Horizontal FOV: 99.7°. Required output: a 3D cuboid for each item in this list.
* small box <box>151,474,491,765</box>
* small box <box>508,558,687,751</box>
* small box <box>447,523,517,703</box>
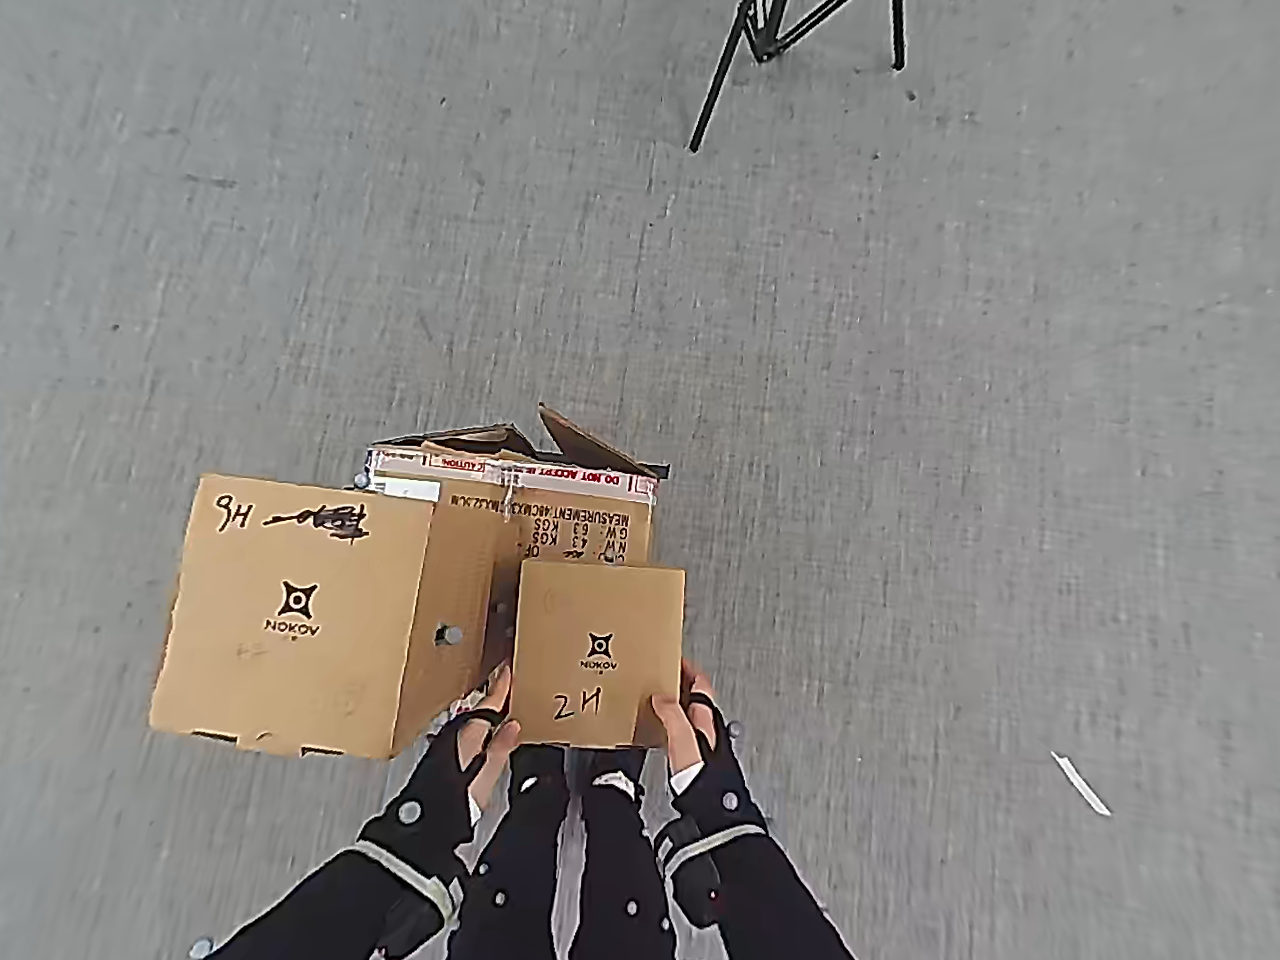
[{"bbox_3d":[-0.232,0.098,0.443,0.168,0.176,0.179,7,85,0],"label":"small box"},{"bbox_3d":[-0.046,0.180,0.605,0.168,0.176,0.179,4,83,-4],"label":"small box"},{"bbox_3d":[-0.240,0.128,0.604,0.168,0.176,0.179,5,85,0],"label":"small box"}]
